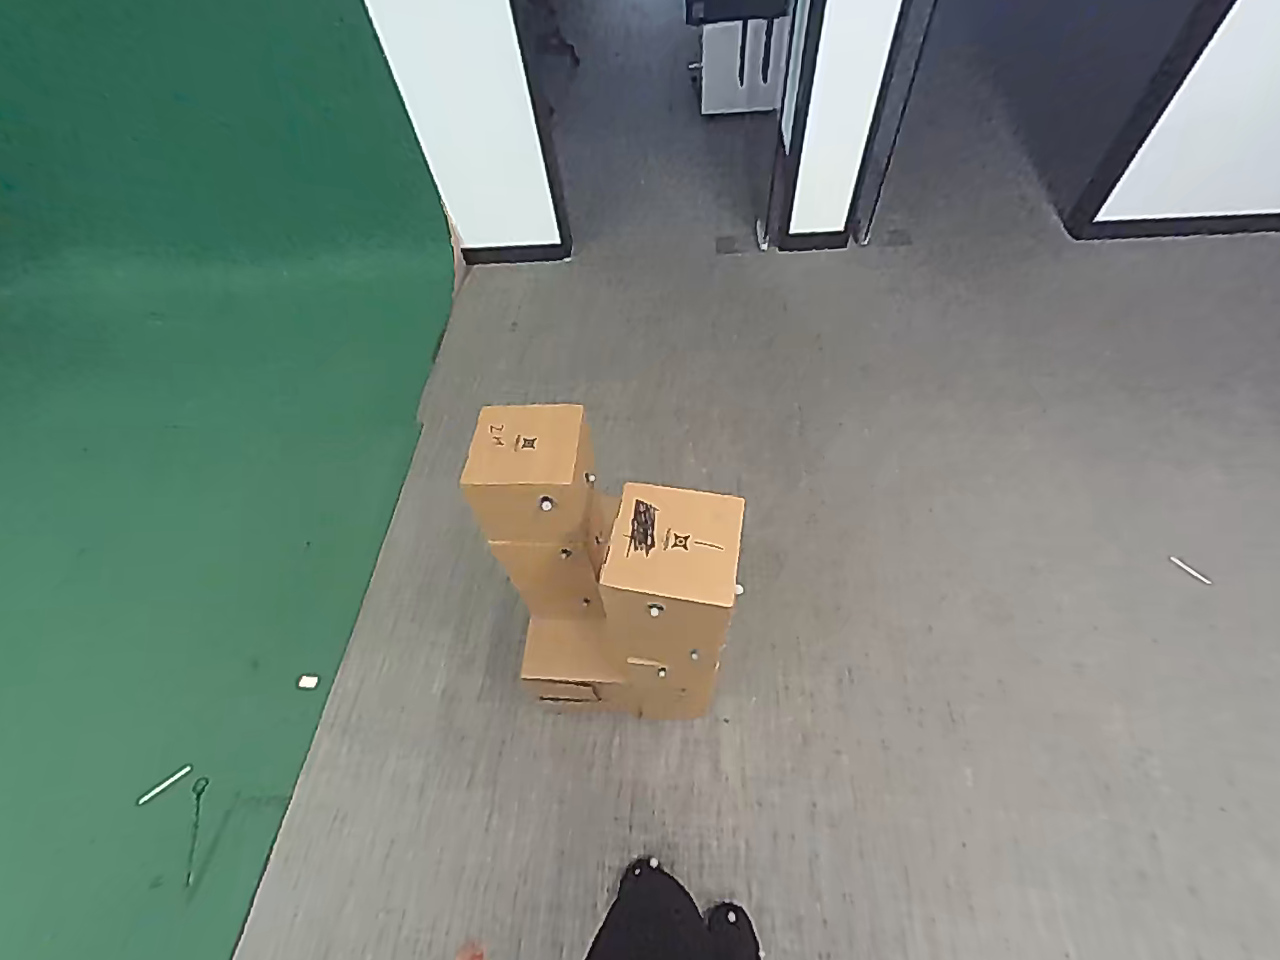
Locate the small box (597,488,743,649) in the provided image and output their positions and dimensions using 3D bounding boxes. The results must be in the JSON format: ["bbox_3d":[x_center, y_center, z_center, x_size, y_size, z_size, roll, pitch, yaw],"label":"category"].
[{"bbox_3d":[0.048,0.134,0.795,0.179,0.176,0.168,8,57,9],"label":"small box"}]

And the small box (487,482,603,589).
[{"bbox_3d":[-0.174,0.101,1.047,0.179,0.176,0.168,0,53,4],"label":"small box"}]

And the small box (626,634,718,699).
[{"bbox_3d":[0.069,0.314,1.070,0.168,0.176,0.179,4,55,7],"label":"small box"}]

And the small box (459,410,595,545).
[{"bbox_3d":[-0.177,-0.001,0.917,0.179,0.176,0.168,0,53,5],"label":"small box"}]

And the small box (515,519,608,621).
[{"bbox_3d":[-0.155,0.199,1.176,0.179,0.176,0.168,-2,53,4],"label":"small box"}]
